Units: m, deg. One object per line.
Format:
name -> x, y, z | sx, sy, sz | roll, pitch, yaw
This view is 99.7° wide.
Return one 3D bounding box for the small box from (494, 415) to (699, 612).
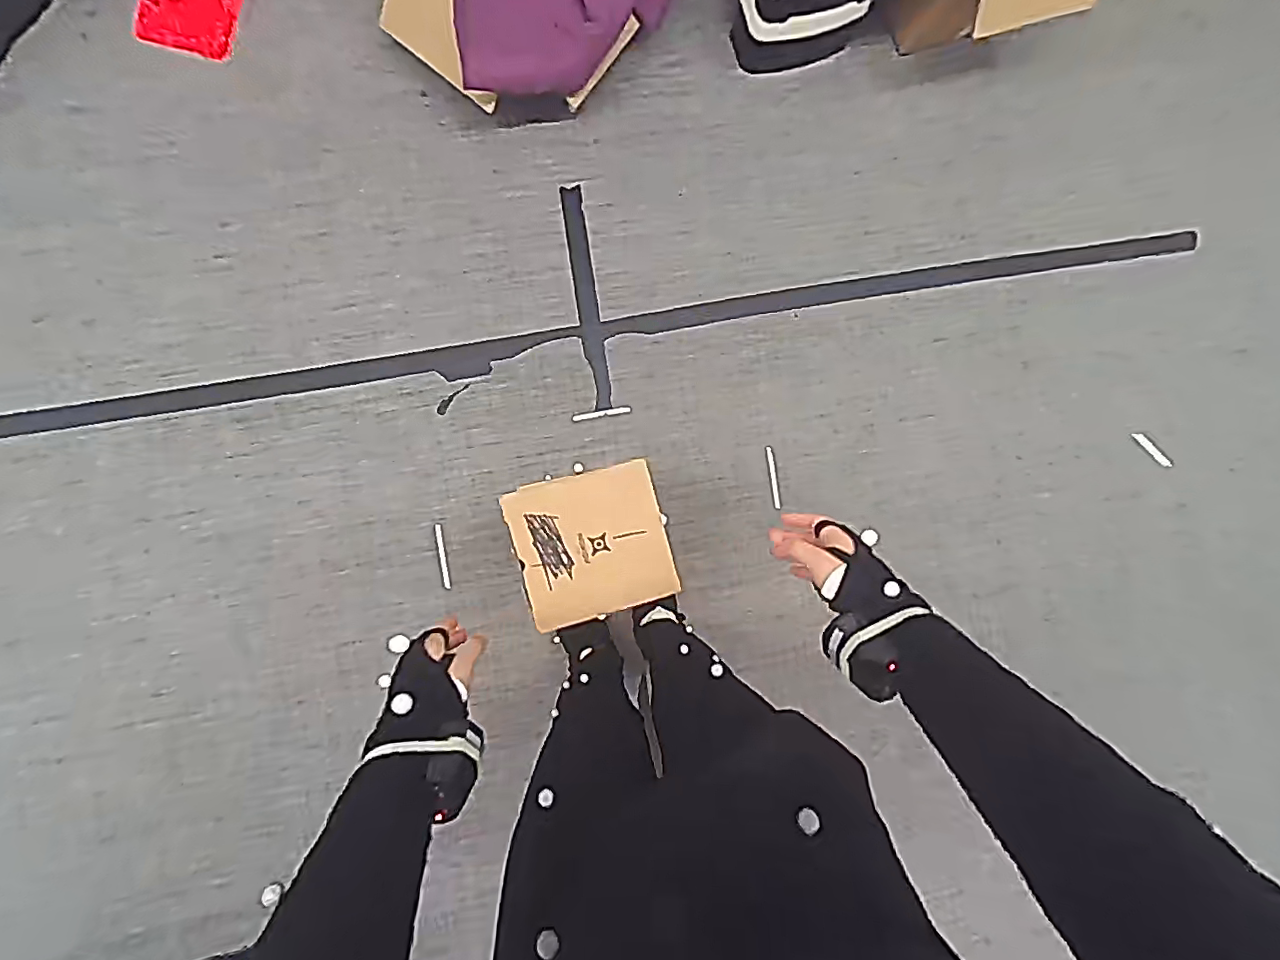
small box -> -0.049, 0.034, 0.622 | 0.179, 0.176, 0.168 | -16, 92, -6
